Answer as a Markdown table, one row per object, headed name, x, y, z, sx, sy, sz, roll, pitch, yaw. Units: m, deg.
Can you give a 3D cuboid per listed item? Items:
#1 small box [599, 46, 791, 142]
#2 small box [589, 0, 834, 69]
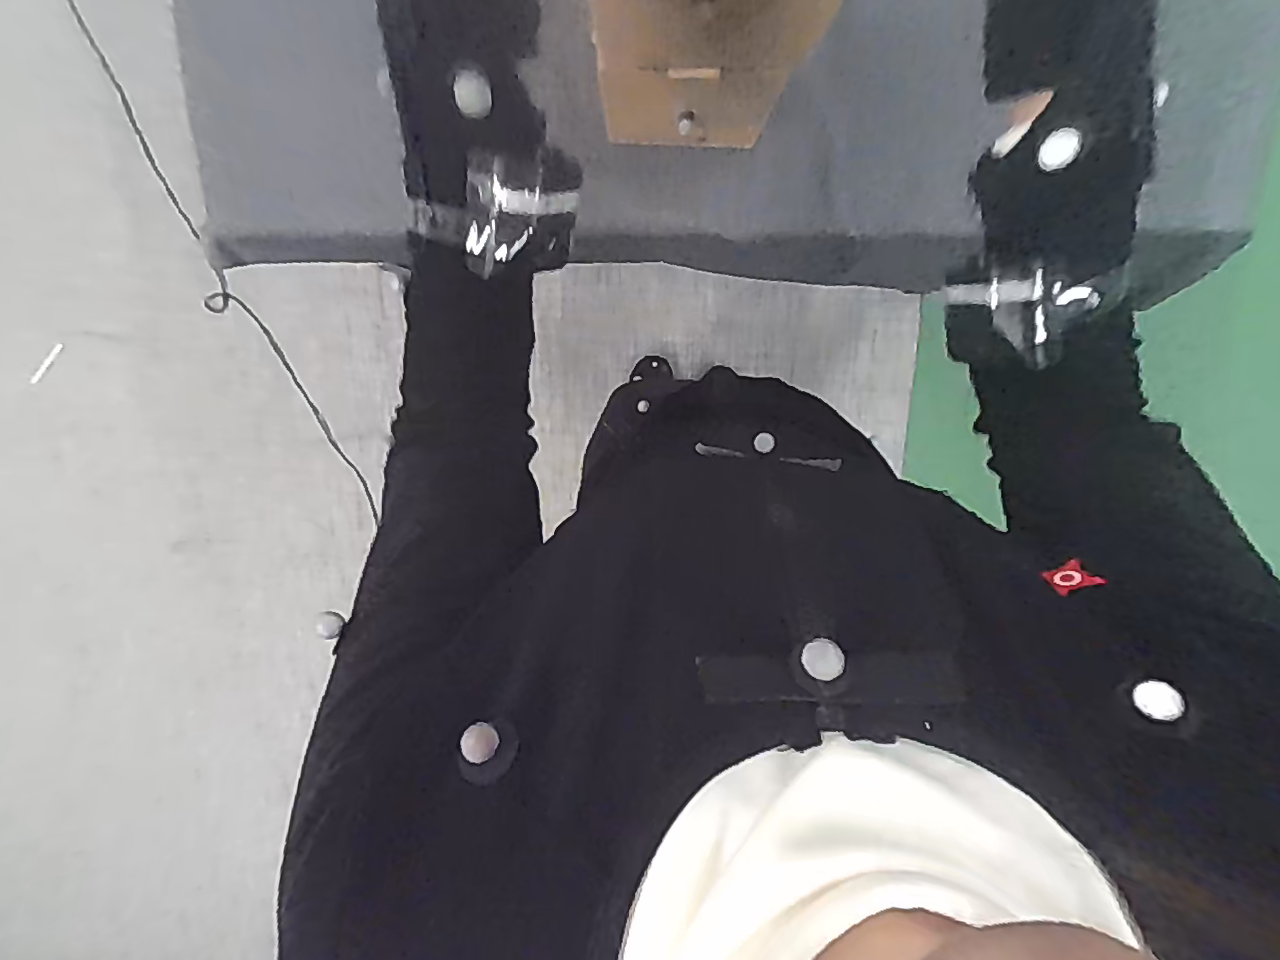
| name | x | y | z | sx | sy | sz | roll | pitch | yaw |
| --- | --- | --- | --- | --- | --- | --- | --- | --- | --- |
| small box | 0.052 | -0.445 | 0.516 | 0.168 | 0.176 | 0.179 | 1 | 103 | 2 |
| small box | 0.052 | -0.406 | 0.356 | 0.179 | 0.176 | 0.168 | 1 | 102 | 2 |
